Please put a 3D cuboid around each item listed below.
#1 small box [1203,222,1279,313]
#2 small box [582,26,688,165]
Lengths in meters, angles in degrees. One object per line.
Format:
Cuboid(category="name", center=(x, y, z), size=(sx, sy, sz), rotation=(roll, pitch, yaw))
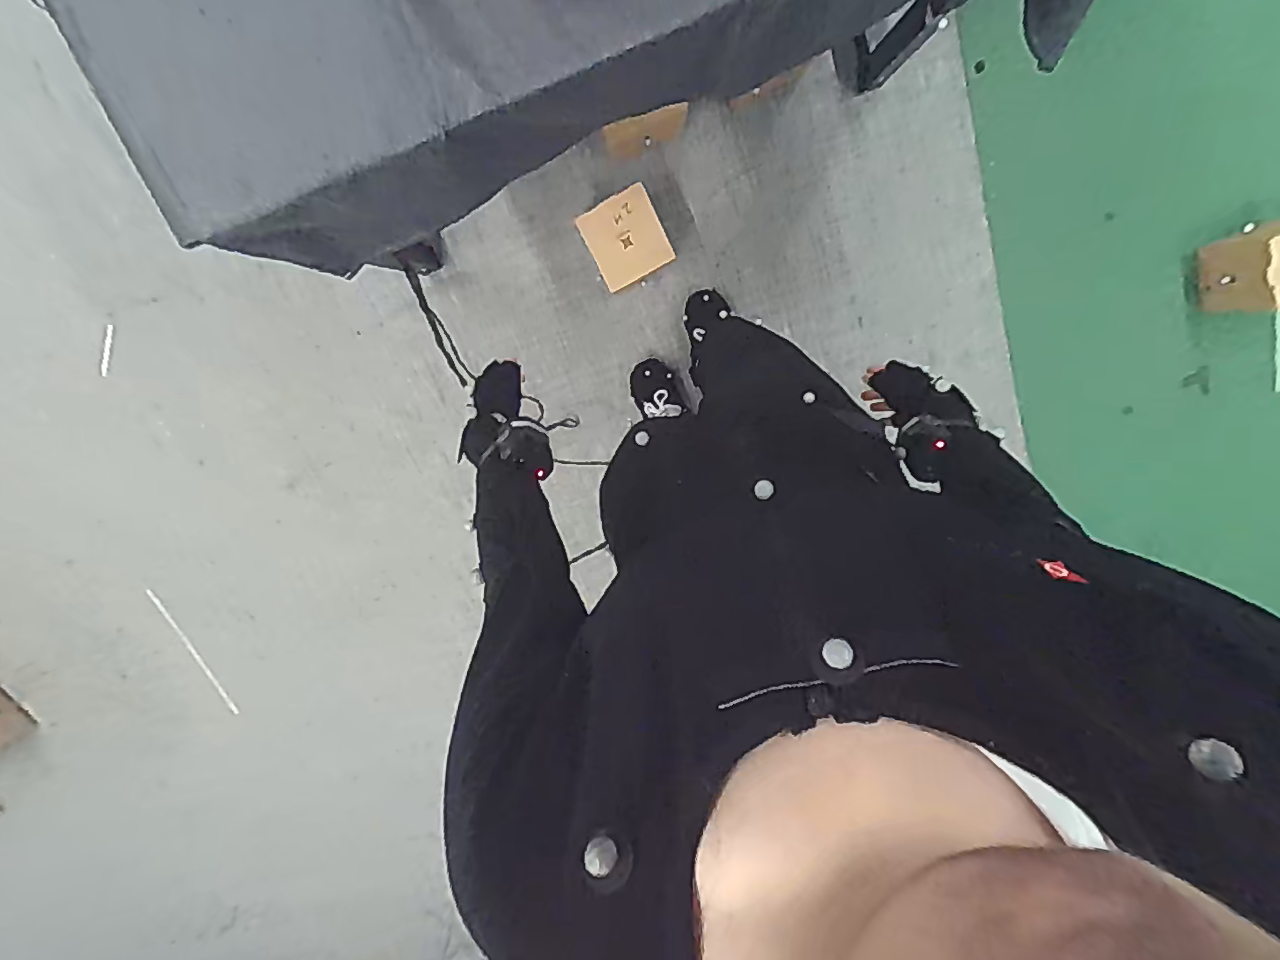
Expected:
Cuboid(category="small box", center=(1.474, -0.498, 1.260), size=(0.179, 0.176, 0.168), rotation=(-20, 105, 7))
Cuboid(category="small box", center=(-0.010, -0.821, 1.173), size=(0.179, 0.176, 0.168), rotation=(-21, 105, 8))
